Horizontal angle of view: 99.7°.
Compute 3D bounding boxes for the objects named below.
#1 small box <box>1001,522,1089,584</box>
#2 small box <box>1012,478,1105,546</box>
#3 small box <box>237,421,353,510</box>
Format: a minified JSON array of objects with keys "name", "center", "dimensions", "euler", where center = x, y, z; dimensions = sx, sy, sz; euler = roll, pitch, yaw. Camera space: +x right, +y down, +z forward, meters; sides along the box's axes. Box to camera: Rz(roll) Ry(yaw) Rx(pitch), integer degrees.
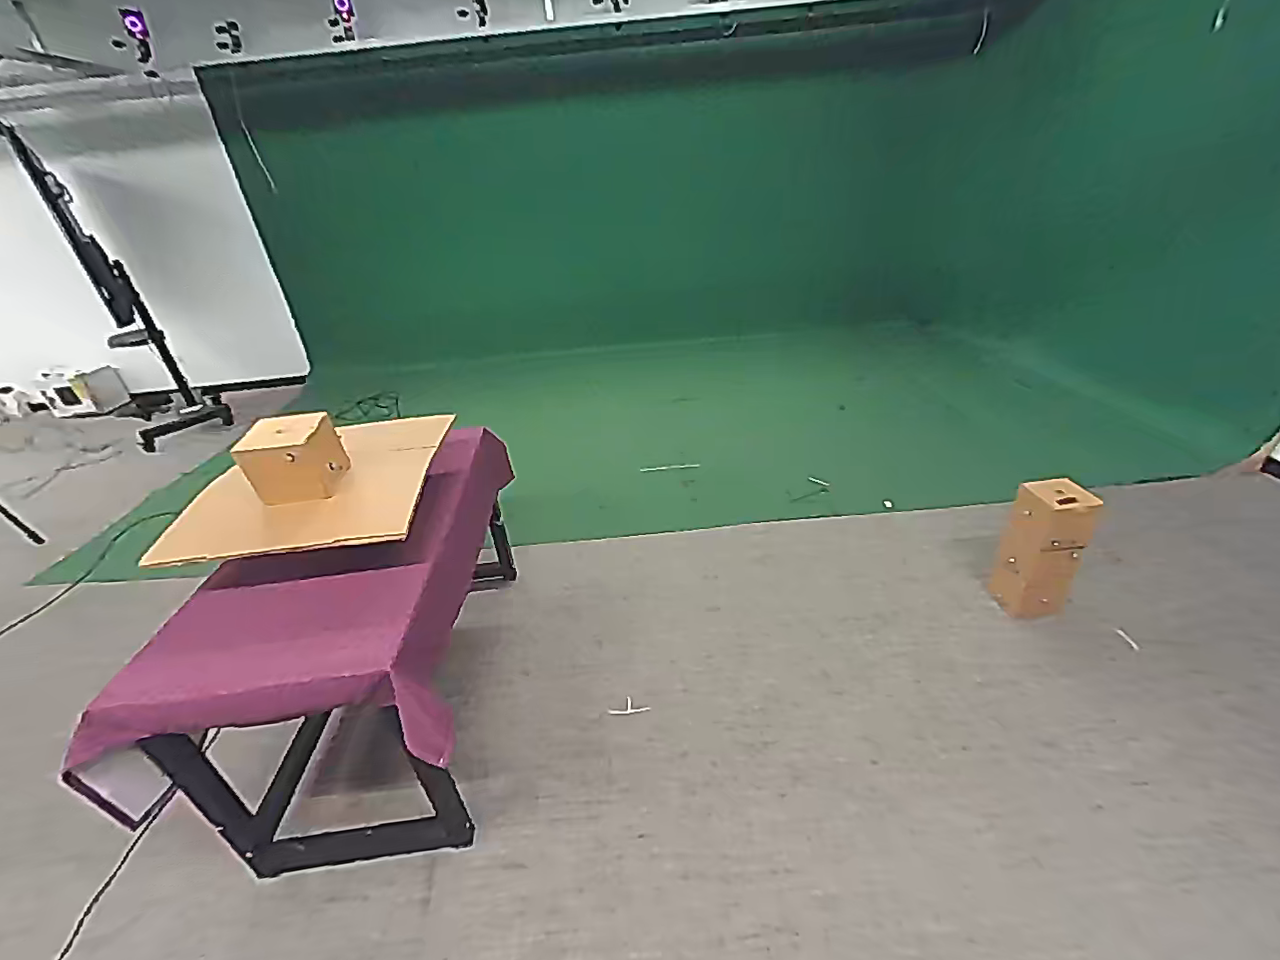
[{"name":"small box","center":[1.444,0.252,1.939],"dimensions":[0.179,0.176,0.168],"euler":[-9,29,-2]},{"name":"small box","center":[1.423,0.114,1.851],"dimensions":[0.168,0.176,0.179],"euler":[-7,29,0]},{"name":"small box","center":[-0.894,-0.035,1.421],"dimensions":[0.179,0.176,0.168],"euler":[-7,36,-3]}]
